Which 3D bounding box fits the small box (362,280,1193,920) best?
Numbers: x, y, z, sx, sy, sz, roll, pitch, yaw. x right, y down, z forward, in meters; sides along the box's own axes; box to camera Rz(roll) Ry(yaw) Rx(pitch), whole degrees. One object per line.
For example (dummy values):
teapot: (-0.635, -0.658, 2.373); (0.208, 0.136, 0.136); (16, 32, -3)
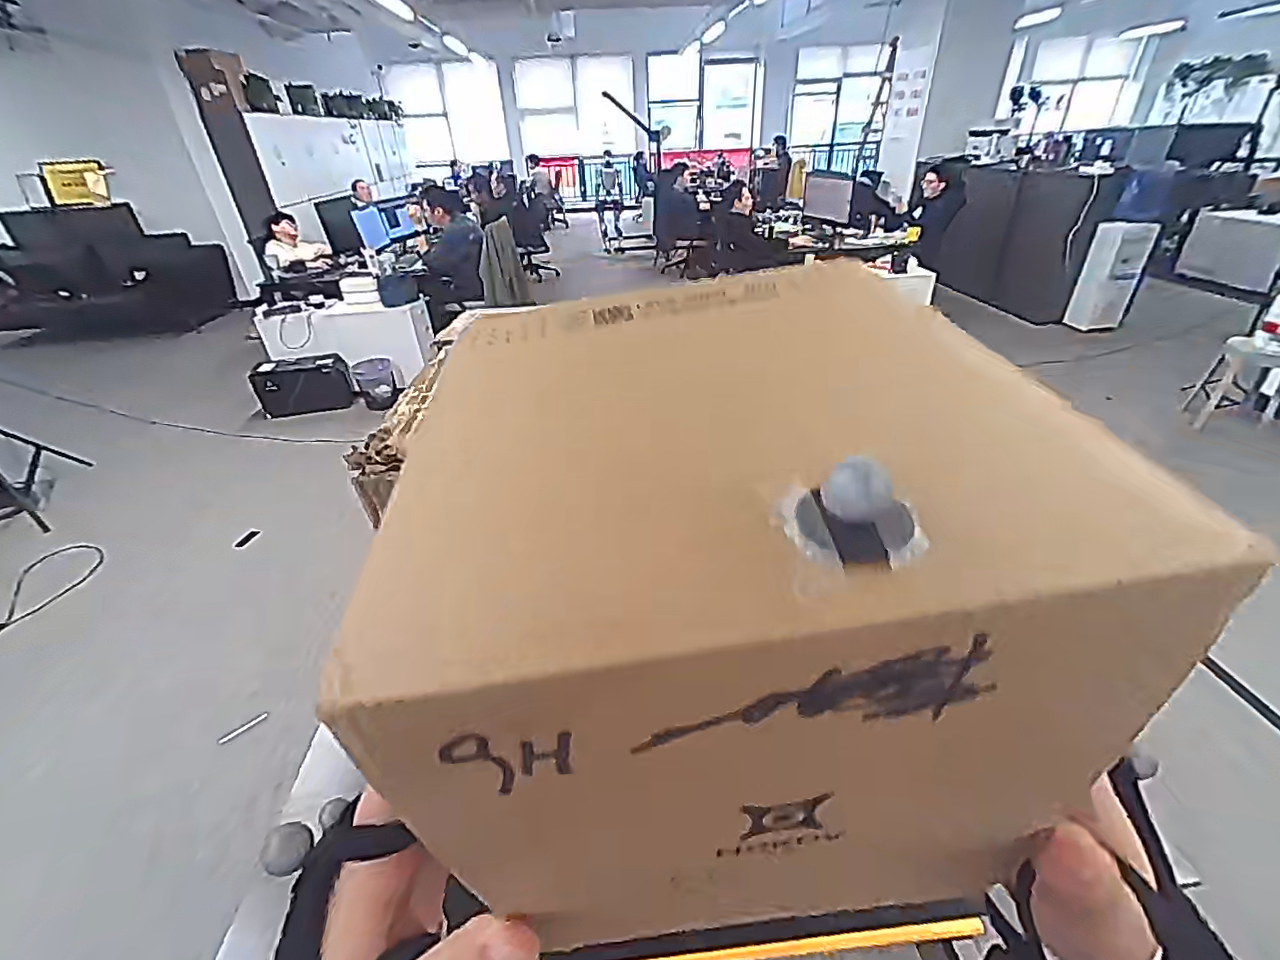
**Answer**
small box: (0.028, 0.042, 0.218); (0.168, 0.179, 0.176); (-8, 39, -1)
